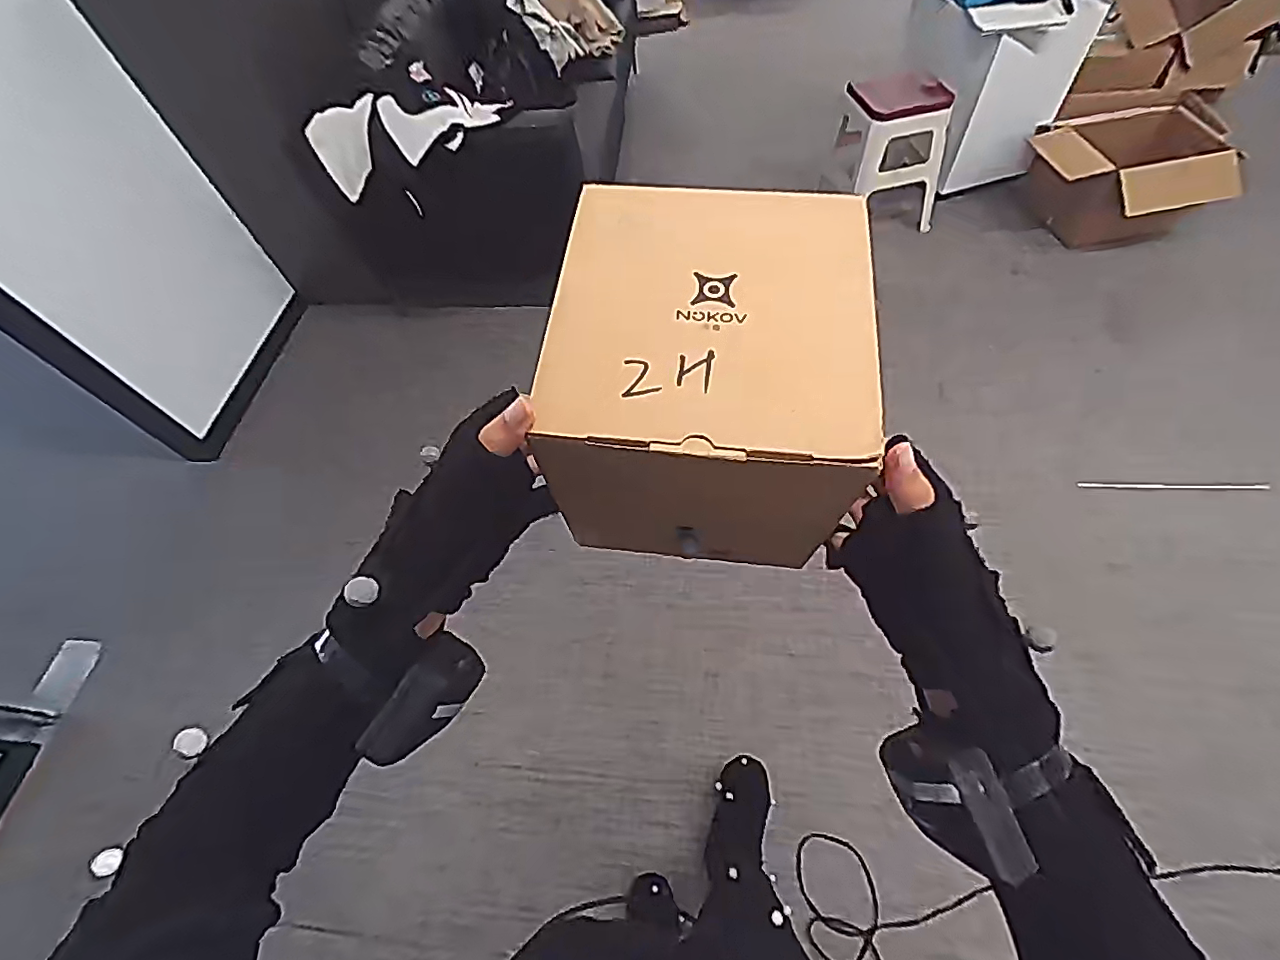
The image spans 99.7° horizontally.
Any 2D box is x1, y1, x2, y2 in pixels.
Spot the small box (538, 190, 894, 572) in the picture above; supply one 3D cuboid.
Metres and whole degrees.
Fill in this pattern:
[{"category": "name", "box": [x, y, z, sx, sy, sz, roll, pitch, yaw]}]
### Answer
[{"category": "small box", "box": [0.046, -0.054, 0.352, 0.168, 0.176, 0.179, 4, 65, 6]}]
